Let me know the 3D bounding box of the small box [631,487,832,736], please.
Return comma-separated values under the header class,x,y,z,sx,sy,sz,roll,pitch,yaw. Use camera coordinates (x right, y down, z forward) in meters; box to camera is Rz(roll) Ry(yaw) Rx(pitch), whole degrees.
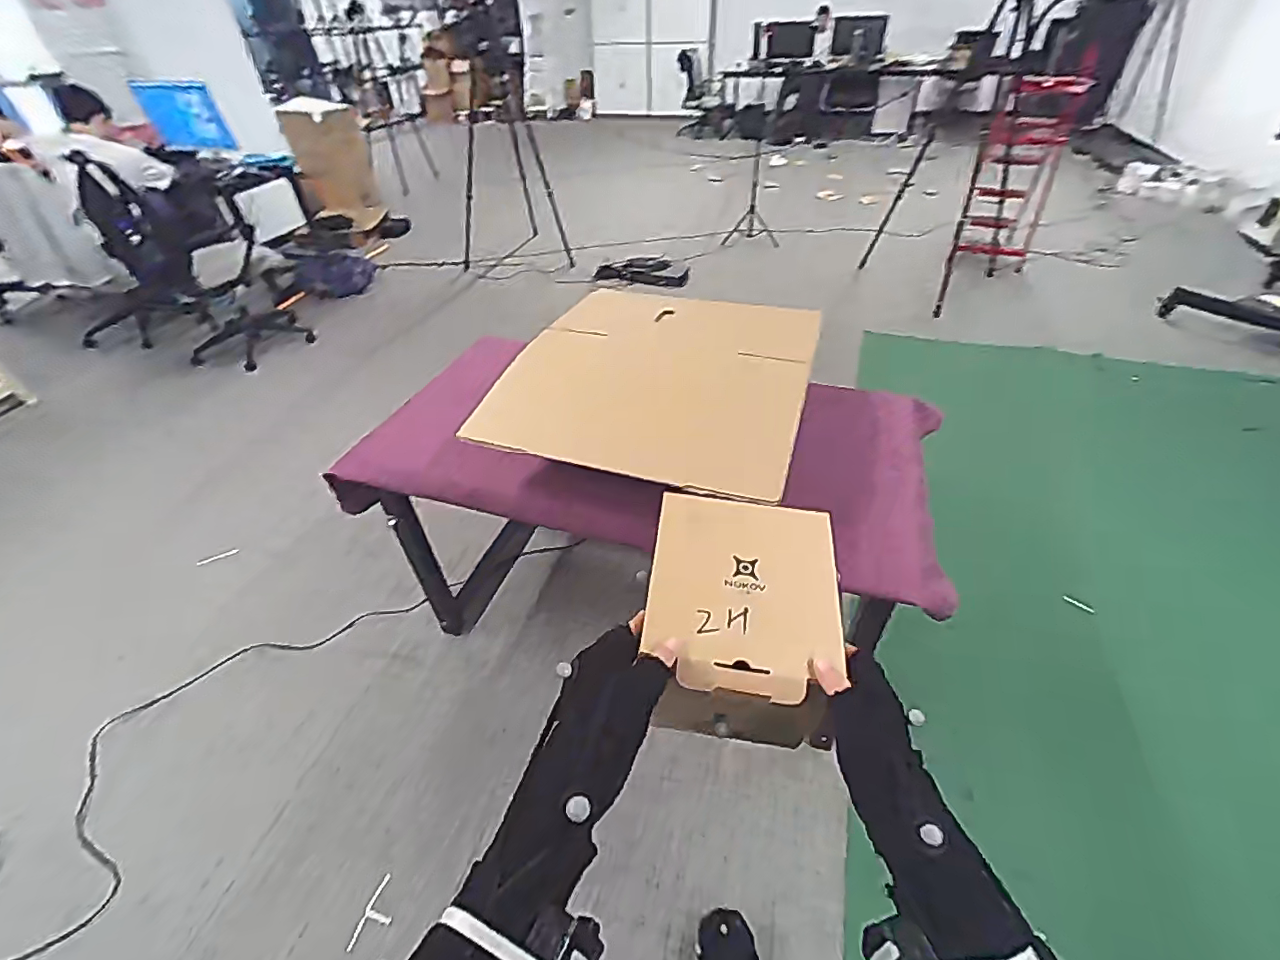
class,x,y,z,sx,sy,sz,roll,pitch,yaw
small box,0.083,0.135,0.550,0.168,0.176,0.179,7,49,5
